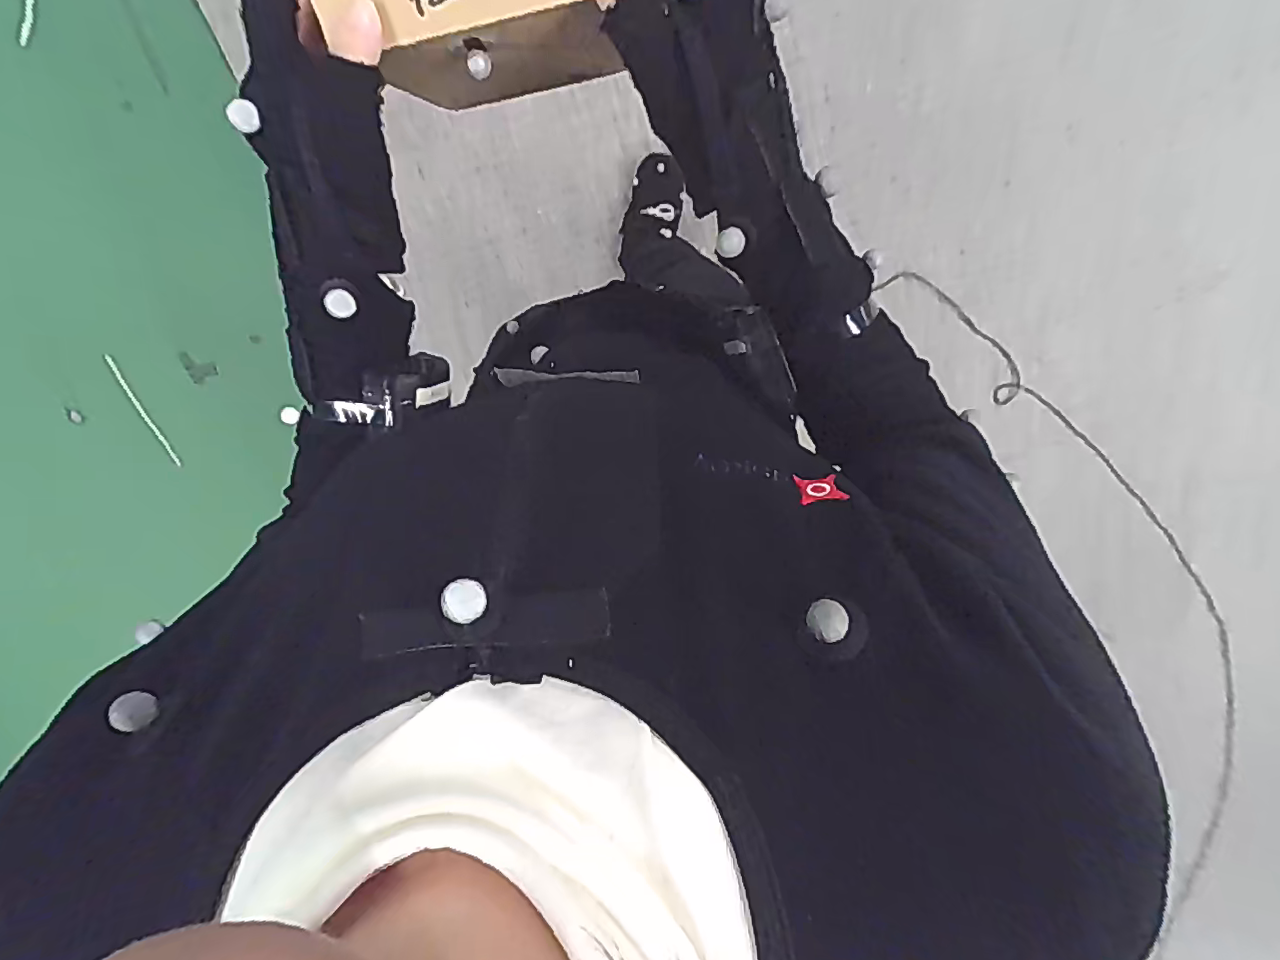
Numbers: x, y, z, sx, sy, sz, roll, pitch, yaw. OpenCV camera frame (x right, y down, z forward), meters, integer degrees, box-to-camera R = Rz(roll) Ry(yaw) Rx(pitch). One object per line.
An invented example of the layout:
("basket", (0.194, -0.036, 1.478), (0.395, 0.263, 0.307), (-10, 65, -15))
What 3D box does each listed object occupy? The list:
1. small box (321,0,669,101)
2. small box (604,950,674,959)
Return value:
("small box", (-0.078, -0.333, 0.286), (0.168, 0.176, 0.179), (-8, 117, 7))
("small box", (0.009, 1.084, 1.070), (0.168, 0.176, 0.179), (-18, 111, 6))
